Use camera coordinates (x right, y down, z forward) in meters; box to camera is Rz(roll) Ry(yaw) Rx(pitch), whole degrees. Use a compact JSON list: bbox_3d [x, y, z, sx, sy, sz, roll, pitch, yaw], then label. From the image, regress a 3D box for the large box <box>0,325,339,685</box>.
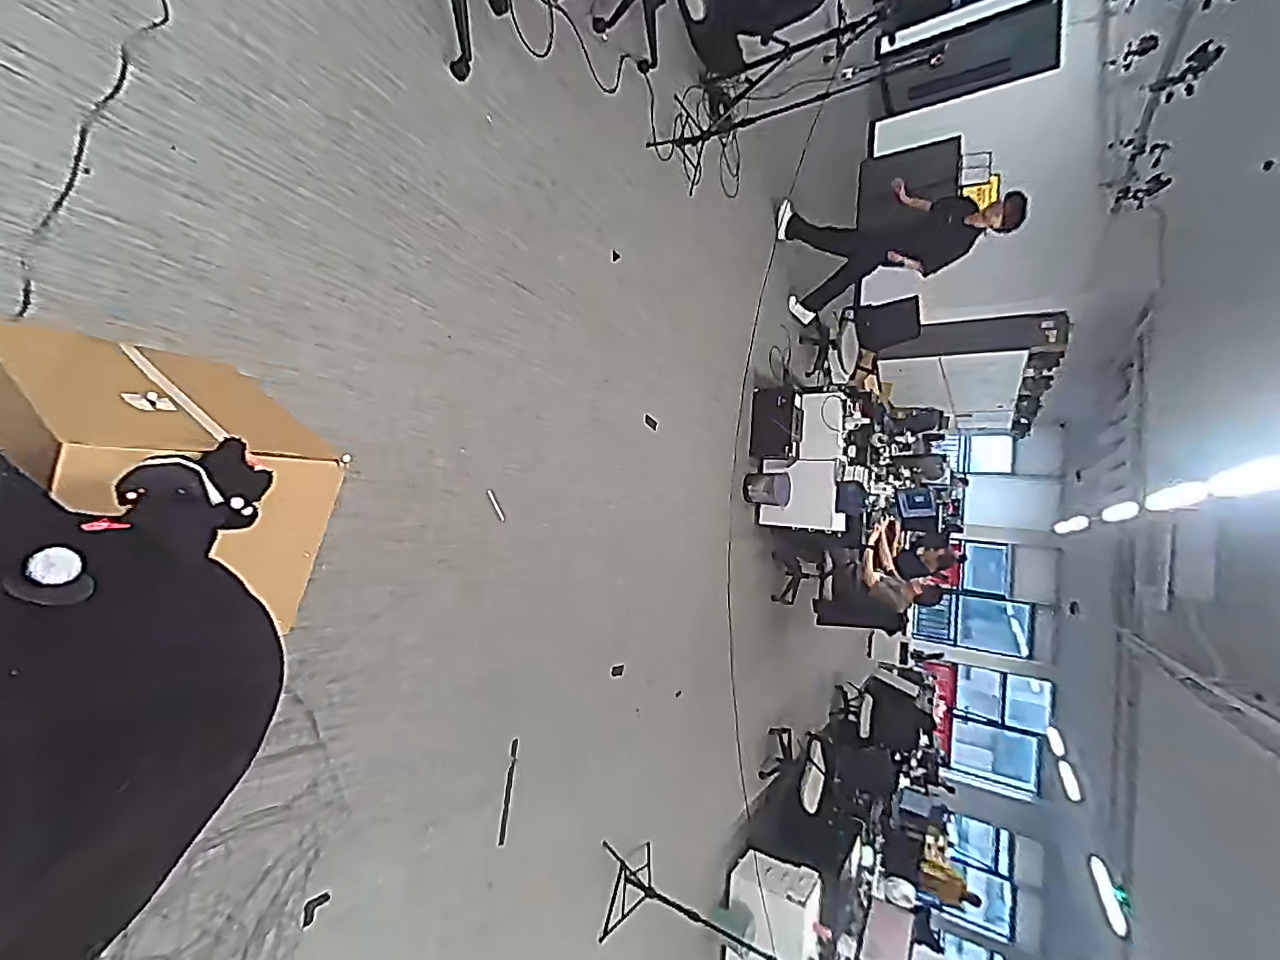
[{"bbox_3d":[-0.743,0.017,0.792,0.320,0.408,0.320,2,116,-62],"label":"large box"}]
